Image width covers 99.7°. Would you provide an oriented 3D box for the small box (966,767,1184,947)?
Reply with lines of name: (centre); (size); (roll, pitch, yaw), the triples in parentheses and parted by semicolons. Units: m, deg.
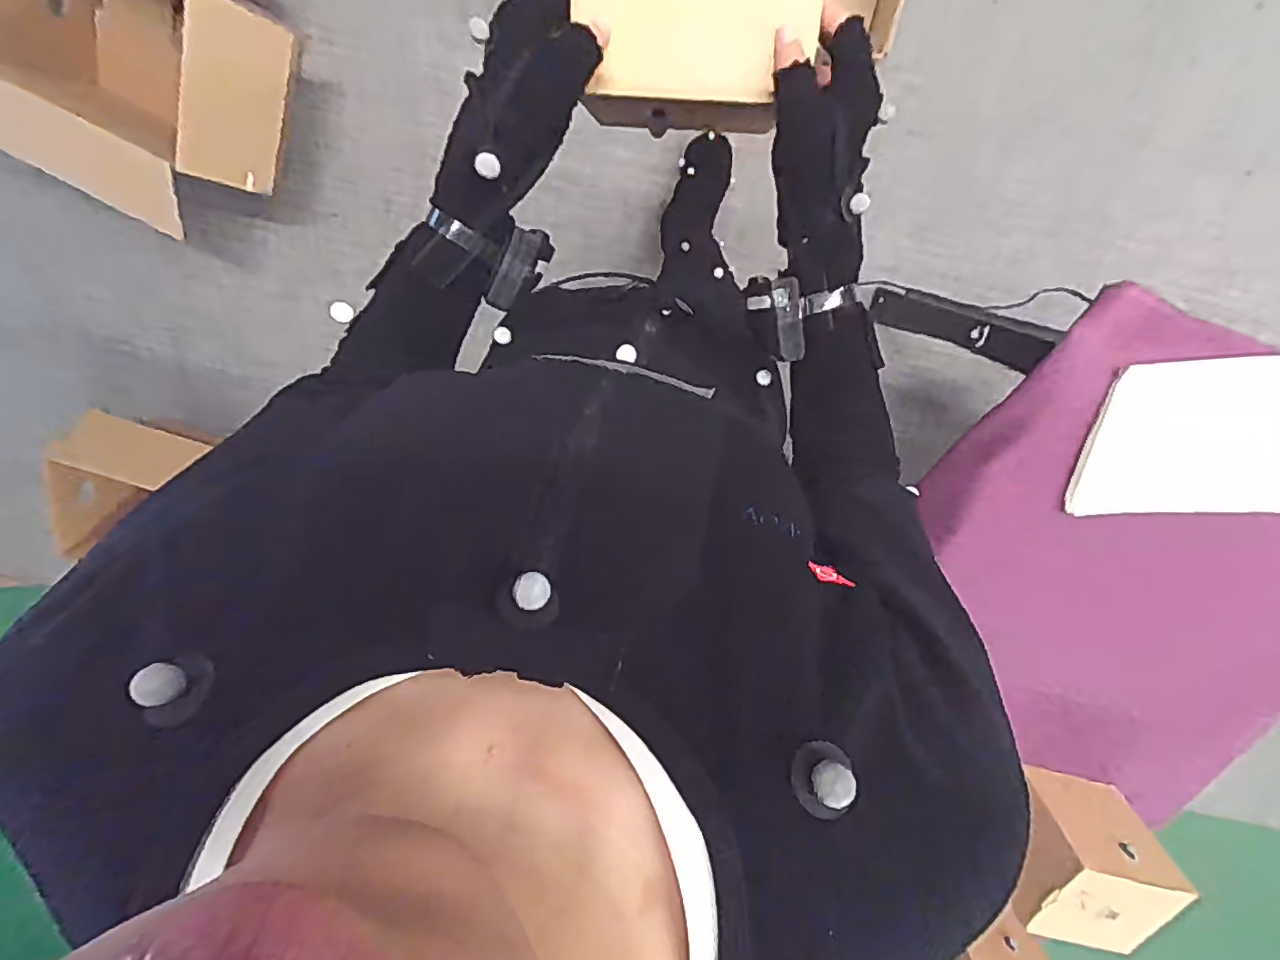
small box: (0.679, 0.598, 0.871); (0.179, 0.176, 0.168); (15, 115, -3)
